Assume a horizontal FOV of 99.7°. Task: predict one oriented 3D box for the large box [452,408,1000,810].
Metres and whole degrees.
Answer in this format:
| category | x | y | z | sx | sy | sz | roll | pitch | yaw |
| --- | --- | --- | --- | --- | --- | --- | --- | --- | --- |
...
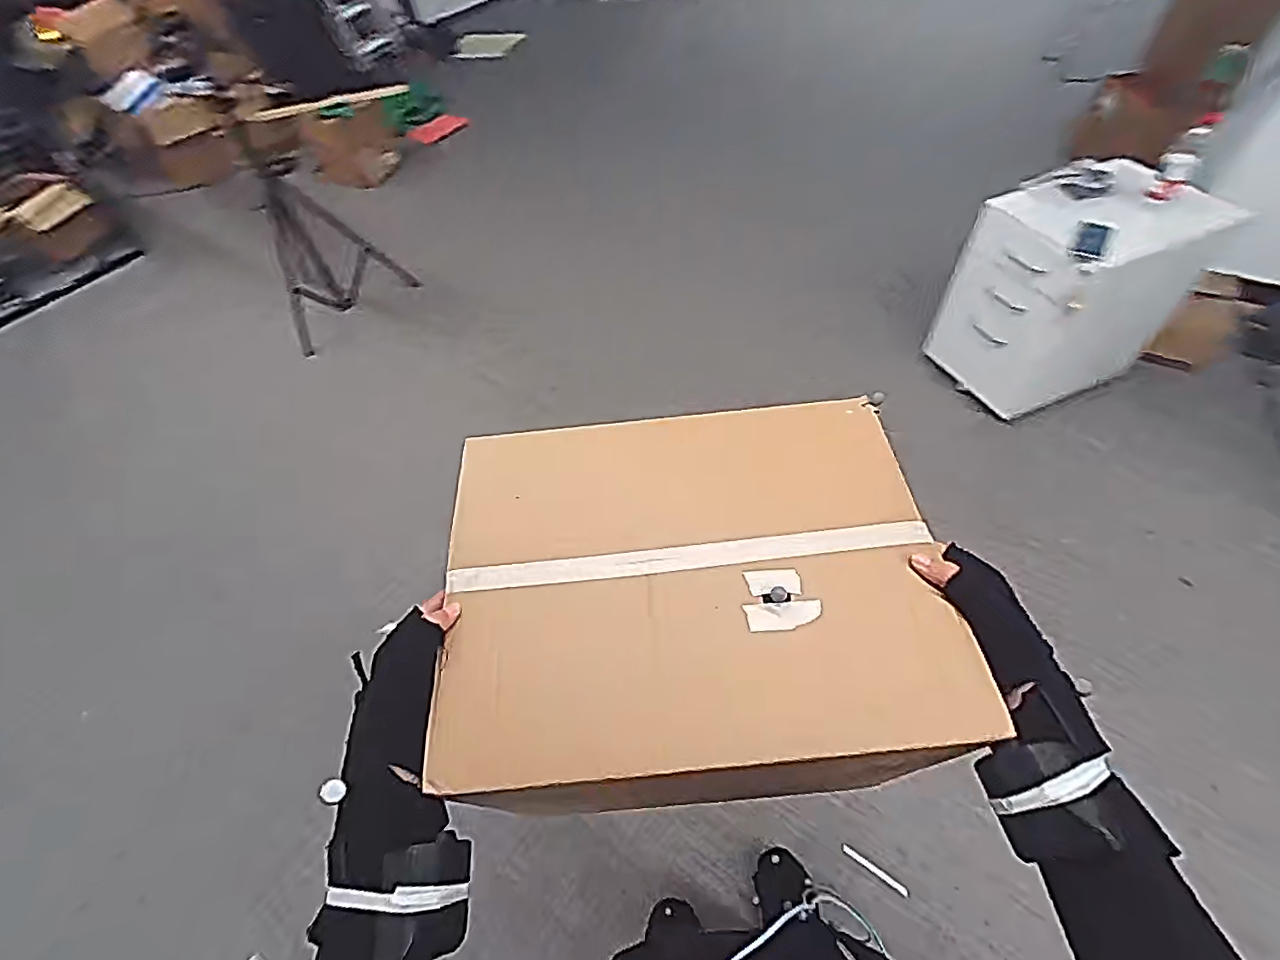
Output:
| category | x | y | z | sx | sy | sz | roll | pitch | yaw |
| --- | --- | --- | --- | --- | --- | --- | --- | --- | --- |
| large box | 0.058 | 0.155 | 0.589 | 0.408 | 0.320 | 0.320 | -5 | 56 | 1 |
